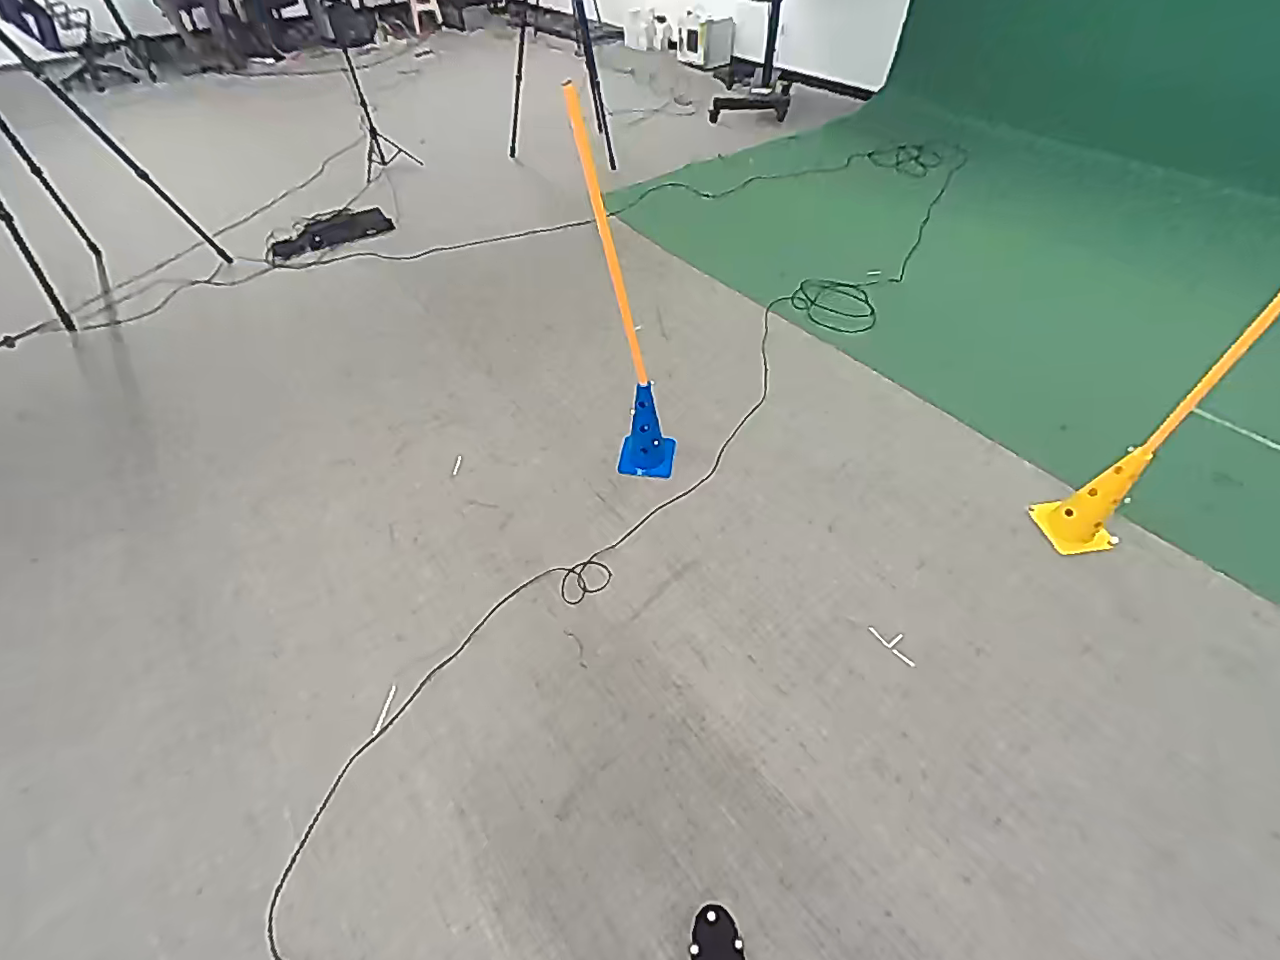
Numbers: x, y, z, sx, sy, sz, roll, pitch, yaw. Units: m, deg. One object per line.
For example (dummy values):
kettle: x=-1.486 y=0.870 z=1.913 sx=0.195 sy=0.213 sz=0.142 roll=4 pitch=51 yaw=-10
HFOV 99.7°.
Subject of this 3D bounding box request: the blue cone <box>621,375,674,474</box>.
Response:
blue cone: x=0.019 y=-0.202 z=1.891 sx=0.193 sy=0.380 sz=0.192 roll=3 pitch=51 yaw=7
